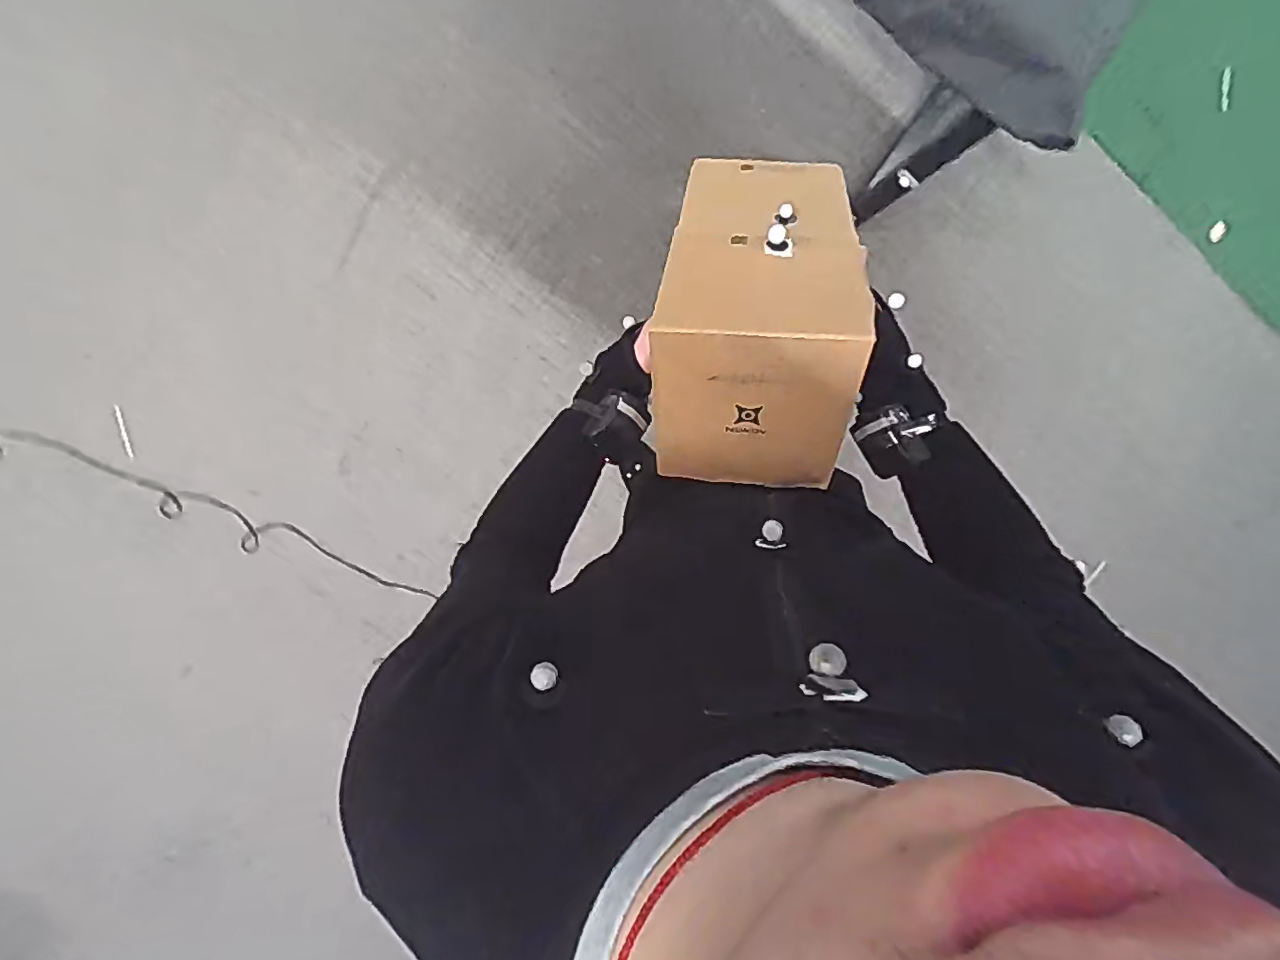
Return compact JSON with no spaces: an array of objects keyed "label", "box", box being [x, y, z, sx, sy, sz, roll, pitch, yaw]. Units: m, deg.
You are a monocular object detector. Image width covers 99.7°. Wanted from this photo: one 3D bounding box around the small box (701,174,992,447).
[{"label":"small box","box":[0.186,-0.164,0.526,0.179,0.168,0.176,16,125,-19]}]
